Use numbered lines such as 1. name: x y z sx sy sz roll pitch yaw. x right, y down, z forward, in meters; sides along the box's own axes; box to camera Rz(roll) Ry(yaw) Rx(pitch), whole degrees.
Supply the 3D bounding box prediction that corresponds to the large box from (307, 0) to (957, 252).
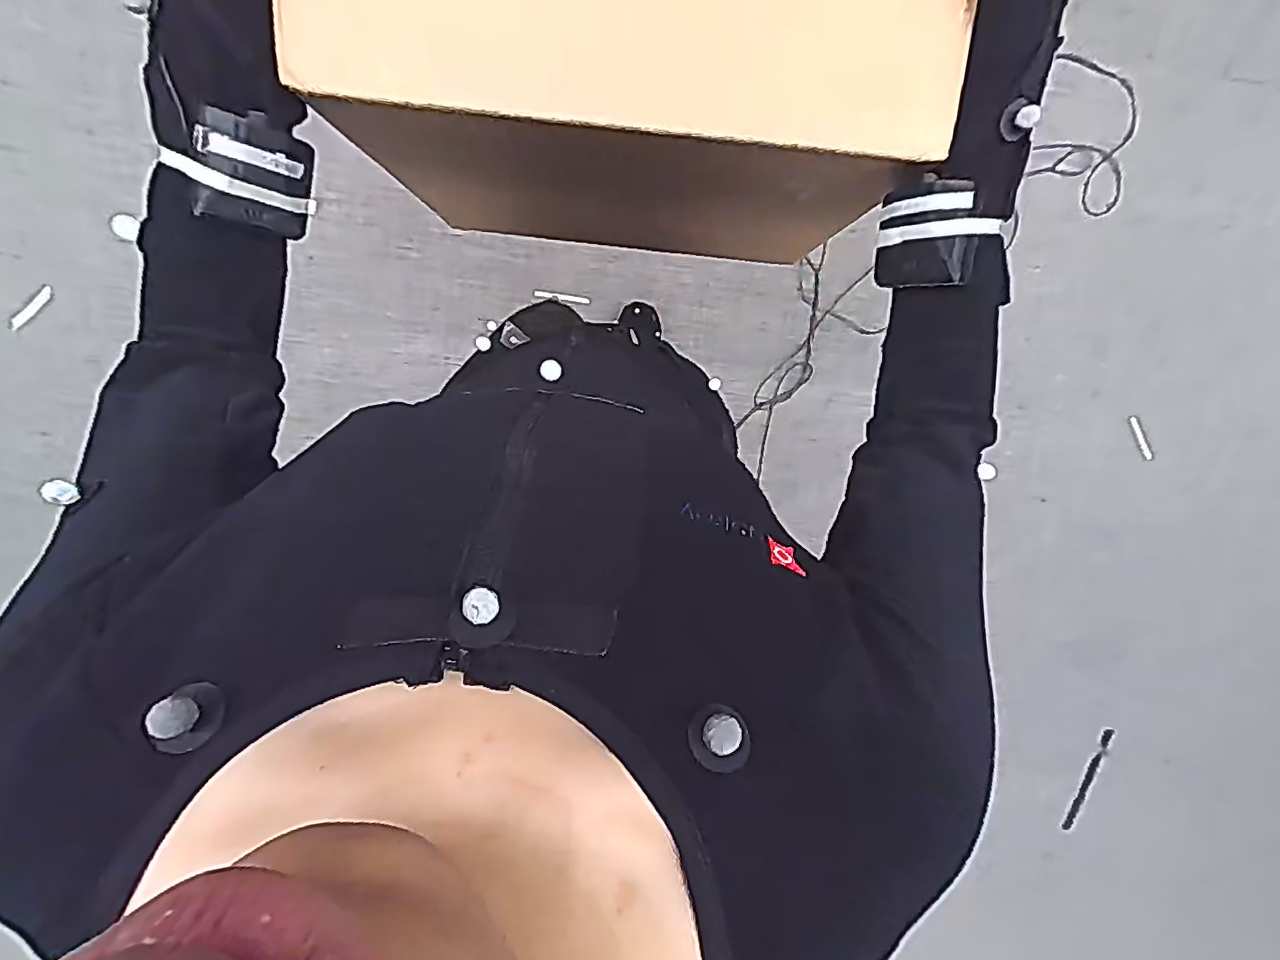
1. large box: 0.000 -0.404 0.461 0.408 0.320 0.320 4 101 -2
